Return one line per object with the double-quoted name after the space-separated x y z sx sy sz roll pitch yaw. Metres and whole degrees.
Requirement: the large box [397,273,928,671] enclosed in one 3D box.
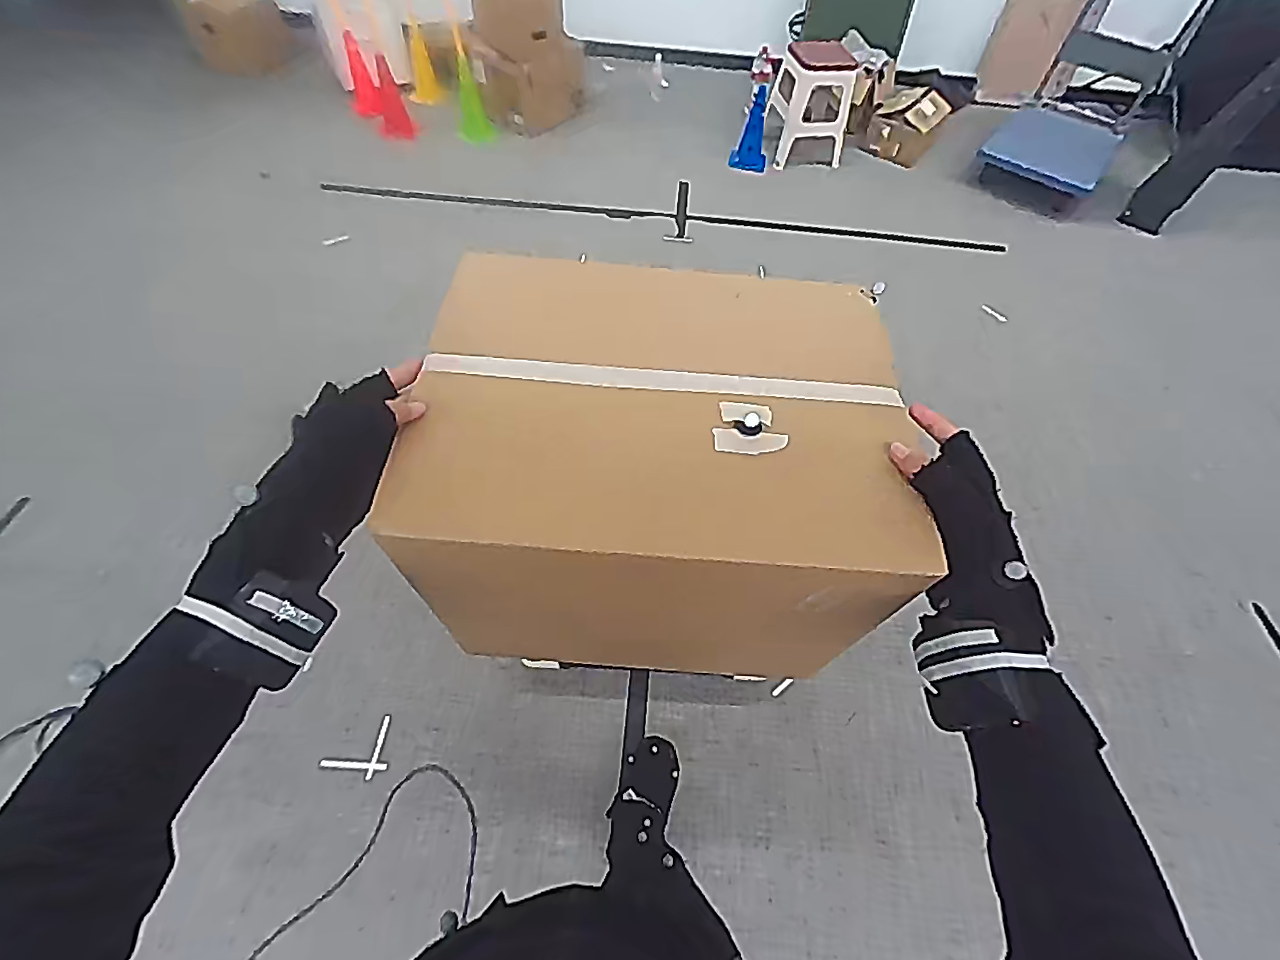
0.015 0.009 0.601 0.408 0.320 0.320 5 57 -1 "large box"
